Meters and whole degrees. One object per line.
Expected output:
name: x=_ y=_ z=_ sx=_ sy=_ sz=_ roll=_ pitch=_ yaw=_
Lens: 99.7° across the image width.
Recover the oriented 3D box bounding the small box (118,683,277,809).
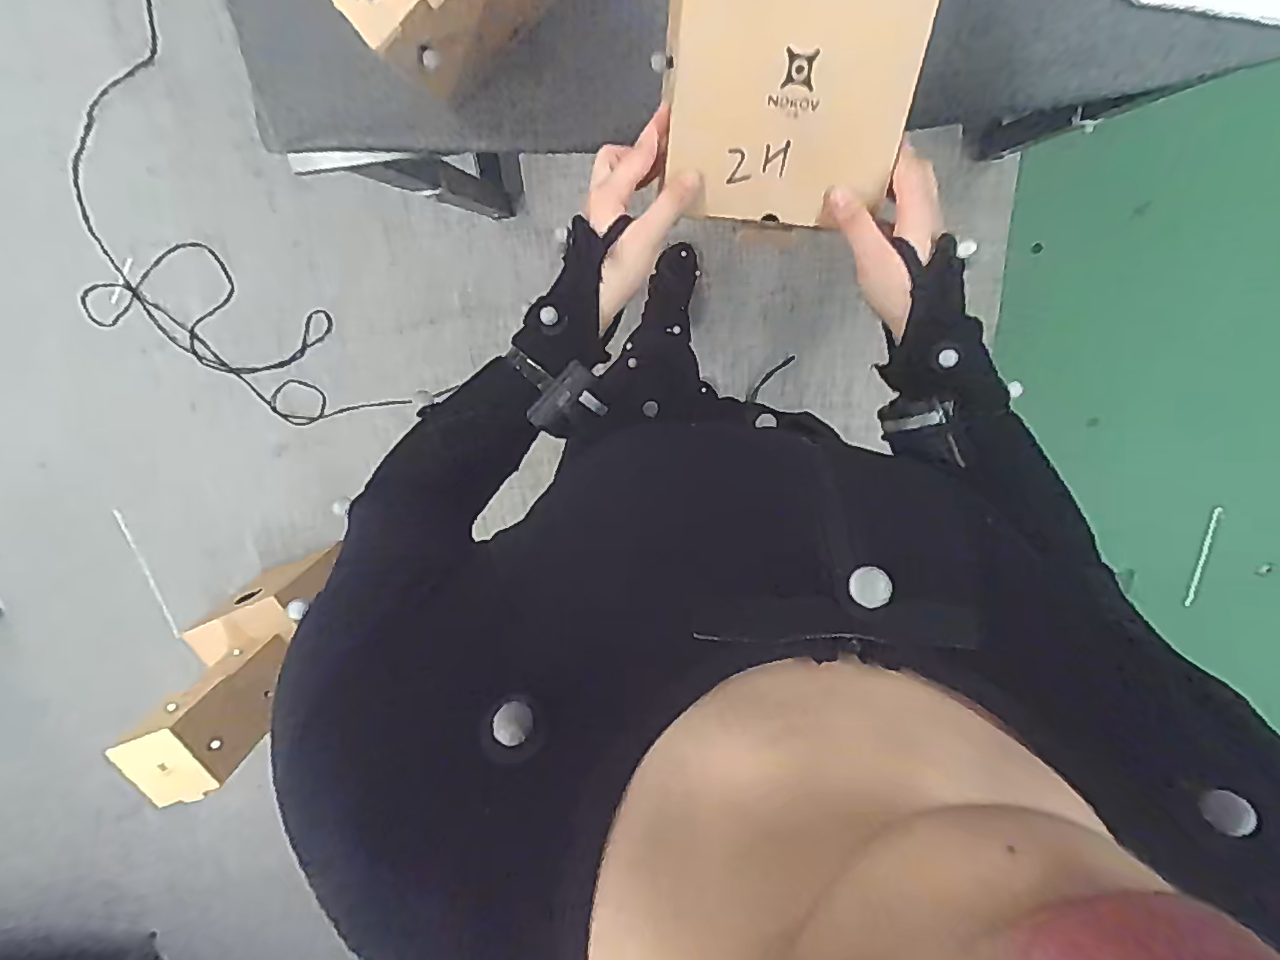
small box: x=-0.972 y=0.580 z=1.204 sx=0.168 sy=0.176 sz=0.179 roll=-22 pitch=108 yaw=9

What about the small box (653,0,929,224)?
small box: x=0.100 y=-0.313 z=0.433 sx=0.168 sy=0.176 sz=0.179 roll=4 pitch=120 yaw=-1

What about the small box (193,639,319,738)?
small box: x=-0.960 y=0.536 z=1.361 sx=0.168 sy=0.176 sz=0.179 roll=-22 pitch=107 yaw=9
